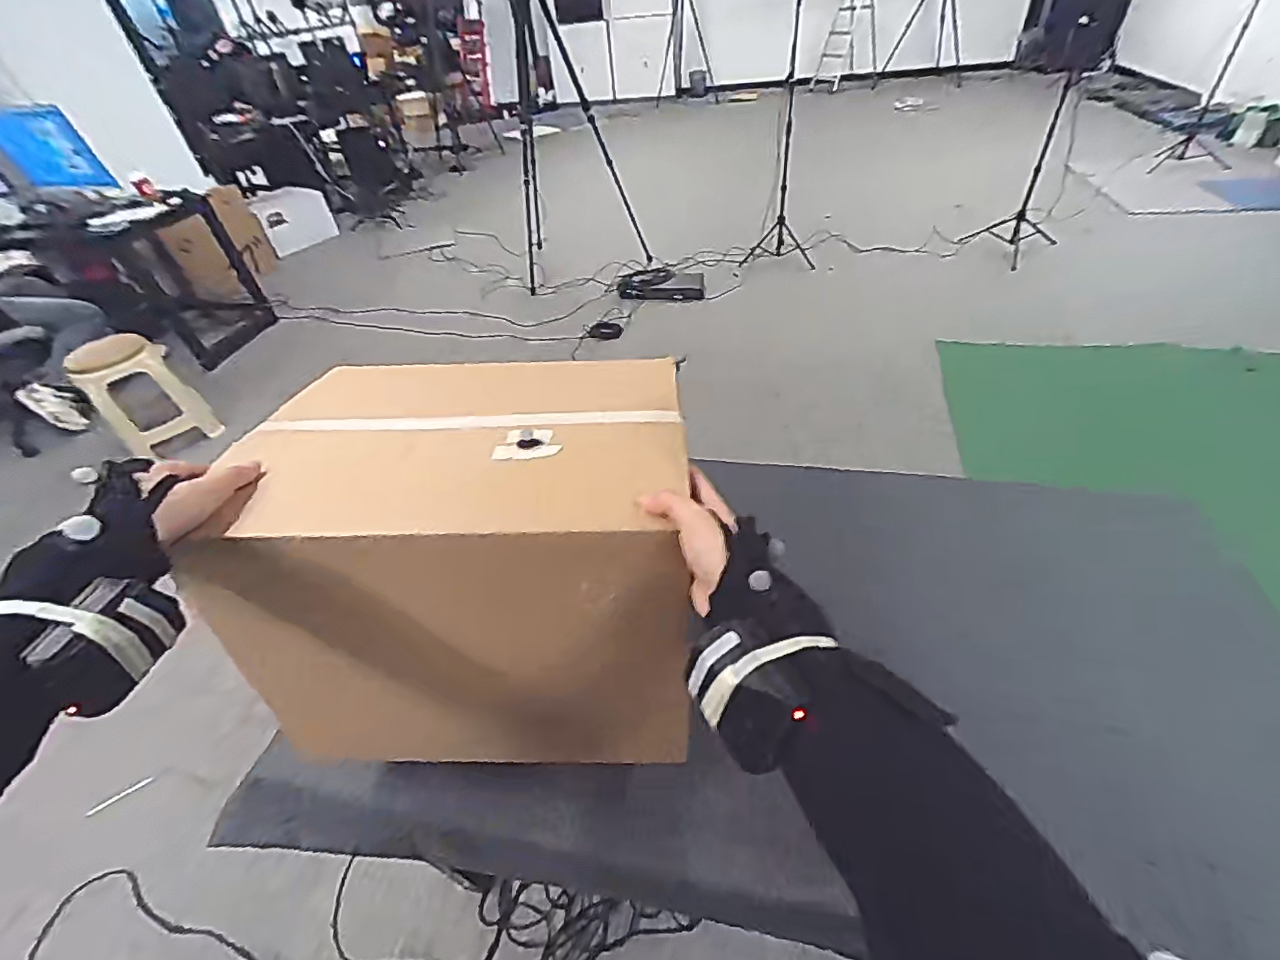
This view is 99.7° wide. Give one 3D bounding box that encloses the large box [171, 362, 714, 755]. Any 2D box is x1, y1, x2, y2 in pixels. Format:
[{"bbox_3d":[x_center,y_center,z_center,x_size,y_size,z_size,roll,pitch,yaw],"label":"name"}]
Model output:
[{"bbox_3d":[-0.143,0.073,0.595,0.408,0.320,0.320,0,35,1],"label":"large box"}]
